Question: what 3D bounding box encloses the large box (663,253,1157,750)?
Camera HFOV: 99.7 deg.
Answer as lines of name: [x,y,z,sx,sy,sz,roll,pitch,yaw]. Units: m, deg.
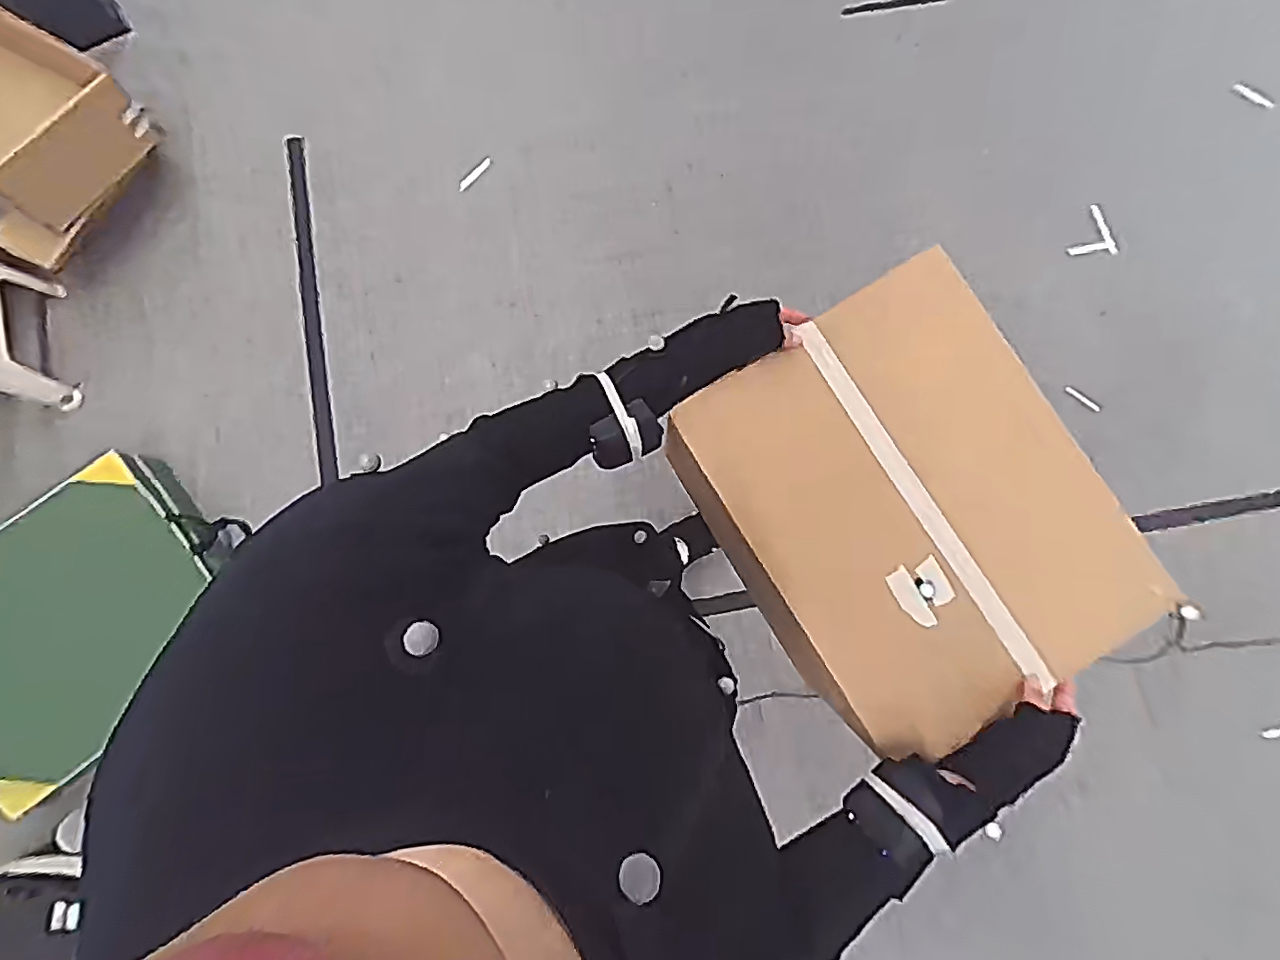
large box: [0.265,0.022,0.675,0.320,0.320,0.408,-32,87,-1]
